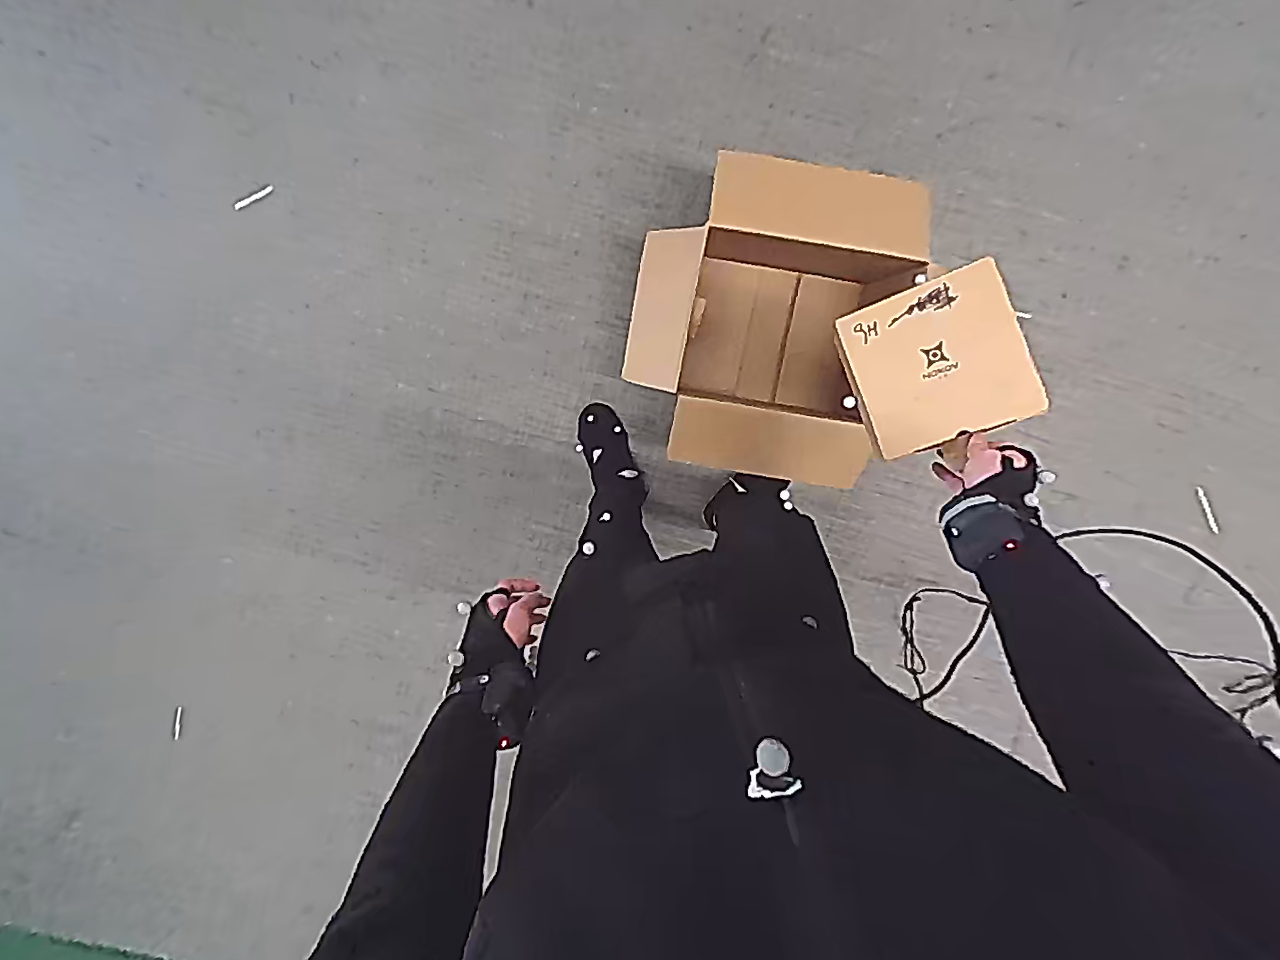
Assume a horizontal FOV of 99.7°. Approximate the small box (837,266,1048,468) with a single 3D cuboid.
[{"bbox_3d":[0.352,-0.124,0.661,0.168,0.176,0.179,-19,86,20],"label":"small box"}]
